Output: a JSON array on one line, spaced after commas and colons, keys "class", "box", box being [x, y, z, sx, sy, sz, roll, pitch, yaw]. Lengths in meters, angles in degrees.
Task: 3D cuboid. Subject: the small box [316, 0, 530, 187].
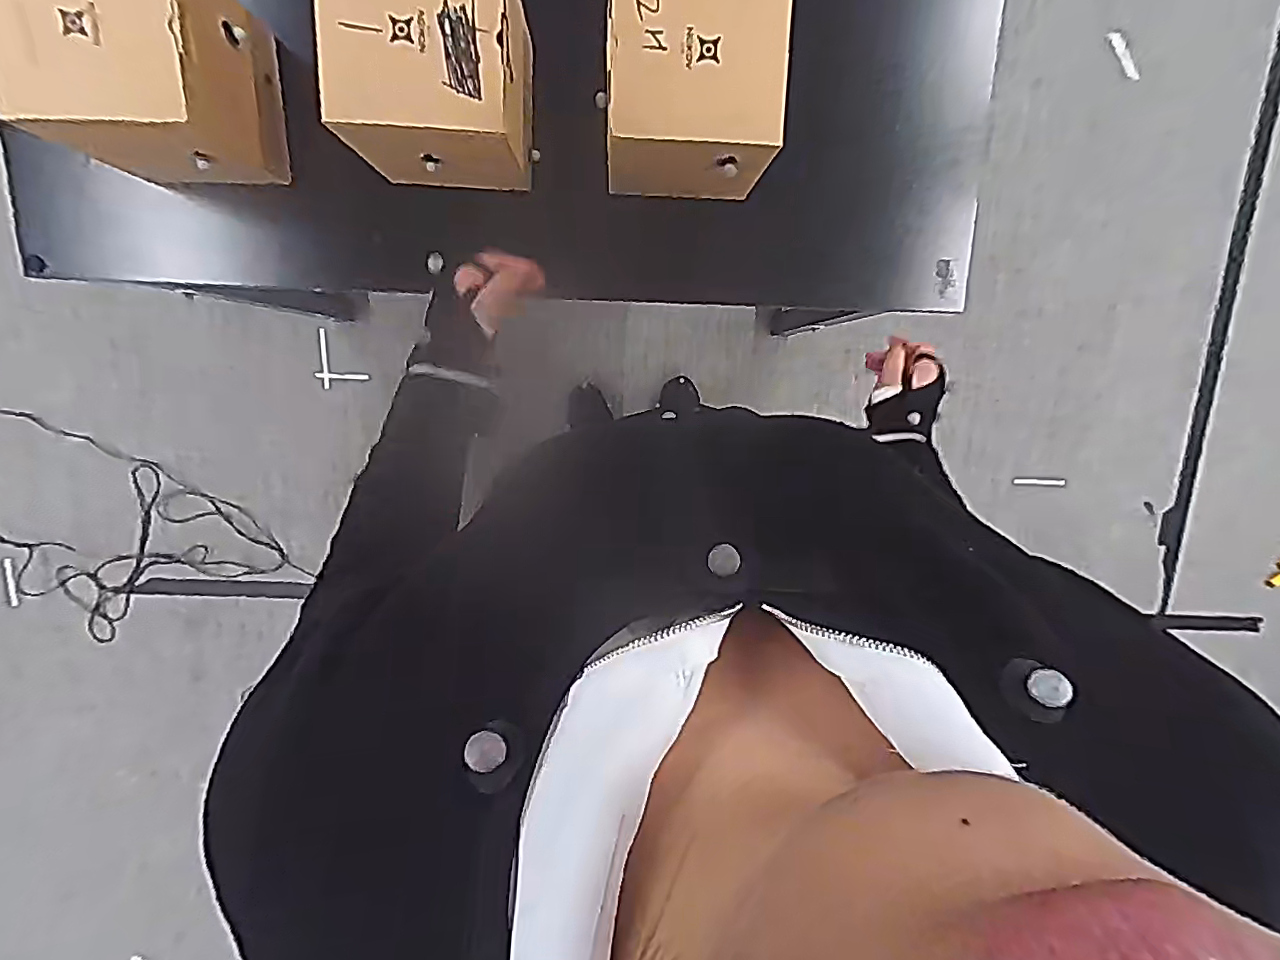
[{"class": "small box", "box": [-0.217, -0.434, 0.585, 0.179, 0.176, 0.168, 2, 101, -2]}]

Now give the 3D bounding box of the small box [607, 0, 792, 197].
[{"class": "small box", "box": [0.053, -0.429, 0.598, 0.179, 0.176, 0.168, 1, 100, -2]}]

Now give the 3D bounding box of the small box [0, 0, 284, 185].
[{"class": "small box", "box": [-0.512, -0.431, 0.573, 0.179, 0.176, 0.168, -1, 100, -2]}]
